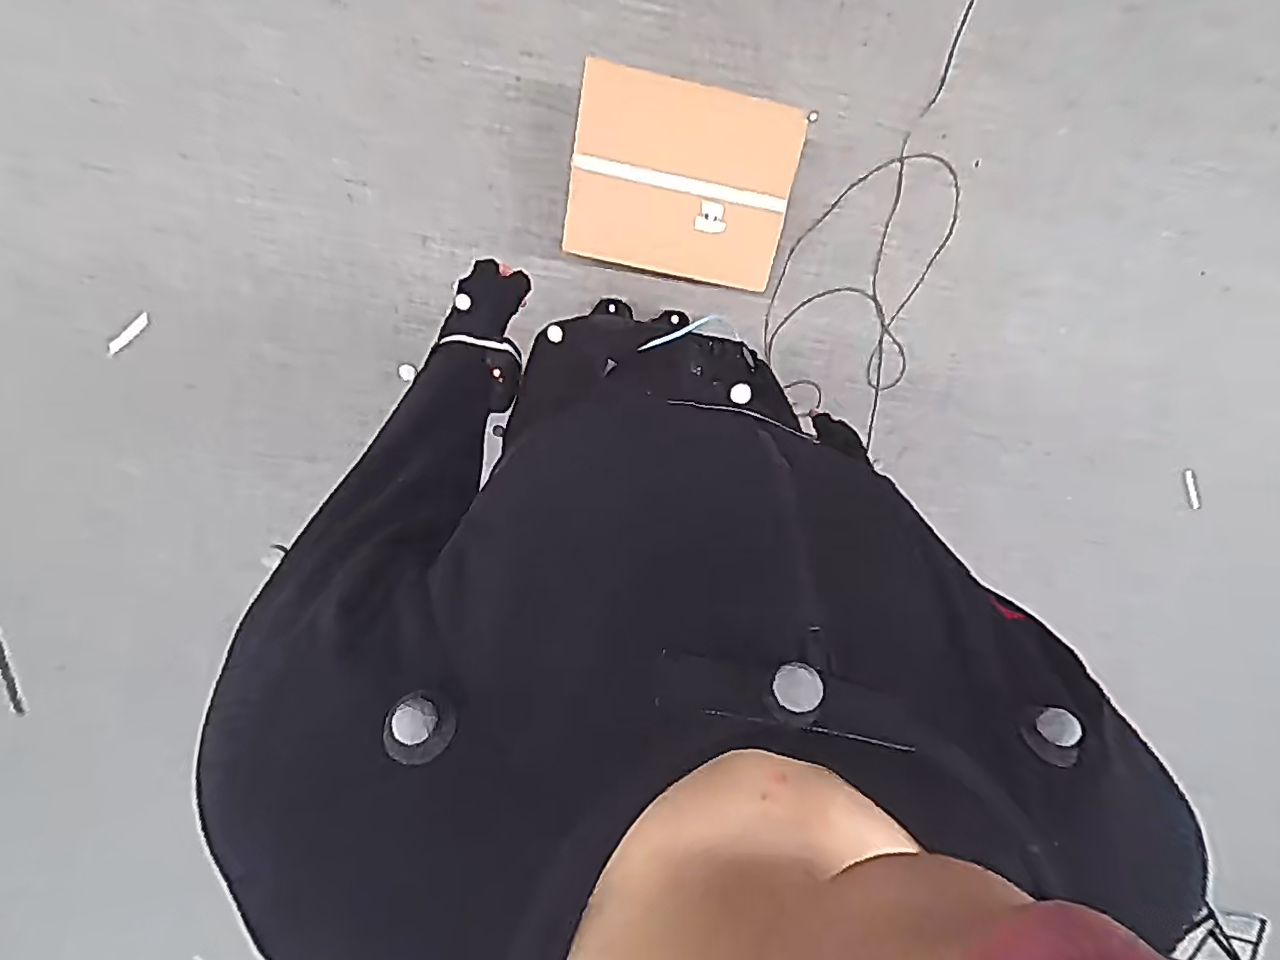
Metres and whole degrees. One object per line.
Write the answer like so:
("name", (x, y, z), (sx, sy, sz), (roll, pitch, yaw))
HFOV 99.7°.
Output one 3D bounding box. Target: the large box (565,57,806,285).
("large box", (0.069, -0.611, 1.135), (0.408, 0.320, 0.320), (10, 112, -6))
